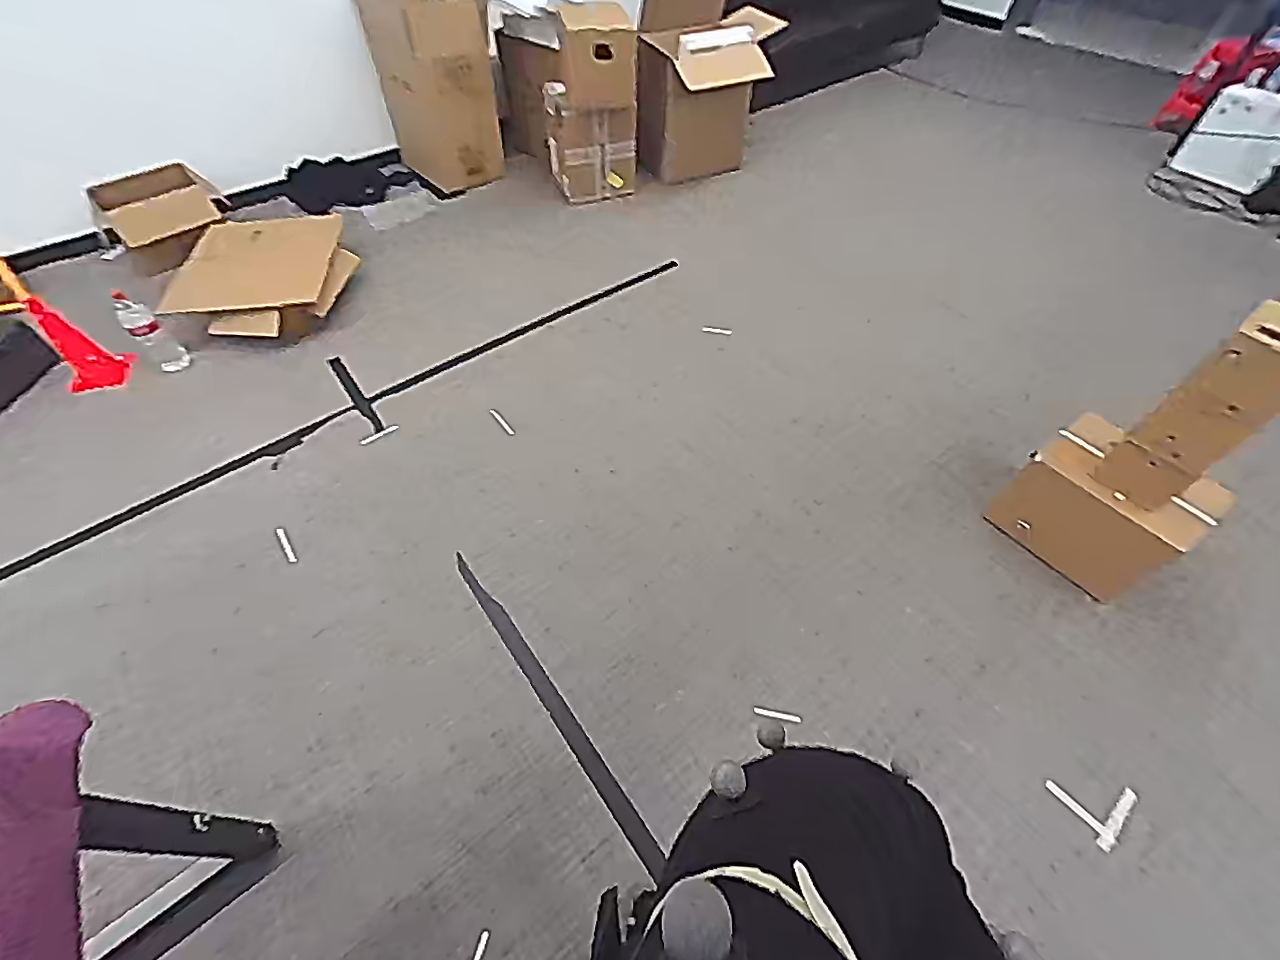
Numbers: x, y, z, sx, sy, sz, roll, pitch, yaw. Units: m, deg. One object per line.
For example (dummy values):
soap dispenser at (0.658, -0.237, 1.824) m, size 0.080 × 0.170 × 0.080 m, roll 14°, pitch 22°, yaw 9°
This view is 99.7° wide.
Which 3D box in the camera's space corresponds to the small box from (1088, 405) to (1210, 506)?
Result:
small box at (1.351, -0.064, 1.428) m, size 0.168 × 0.176 × 0.179 m, roll -34°, pitch 61°, yaw -21°

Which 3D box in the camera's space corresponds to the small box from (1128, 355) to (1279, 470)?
small box at (1.340, -0.160, 1.297) m, size 0.179 × 0.176 × 0.168 m, roll -34°, pitch 59°, yaw -21°
